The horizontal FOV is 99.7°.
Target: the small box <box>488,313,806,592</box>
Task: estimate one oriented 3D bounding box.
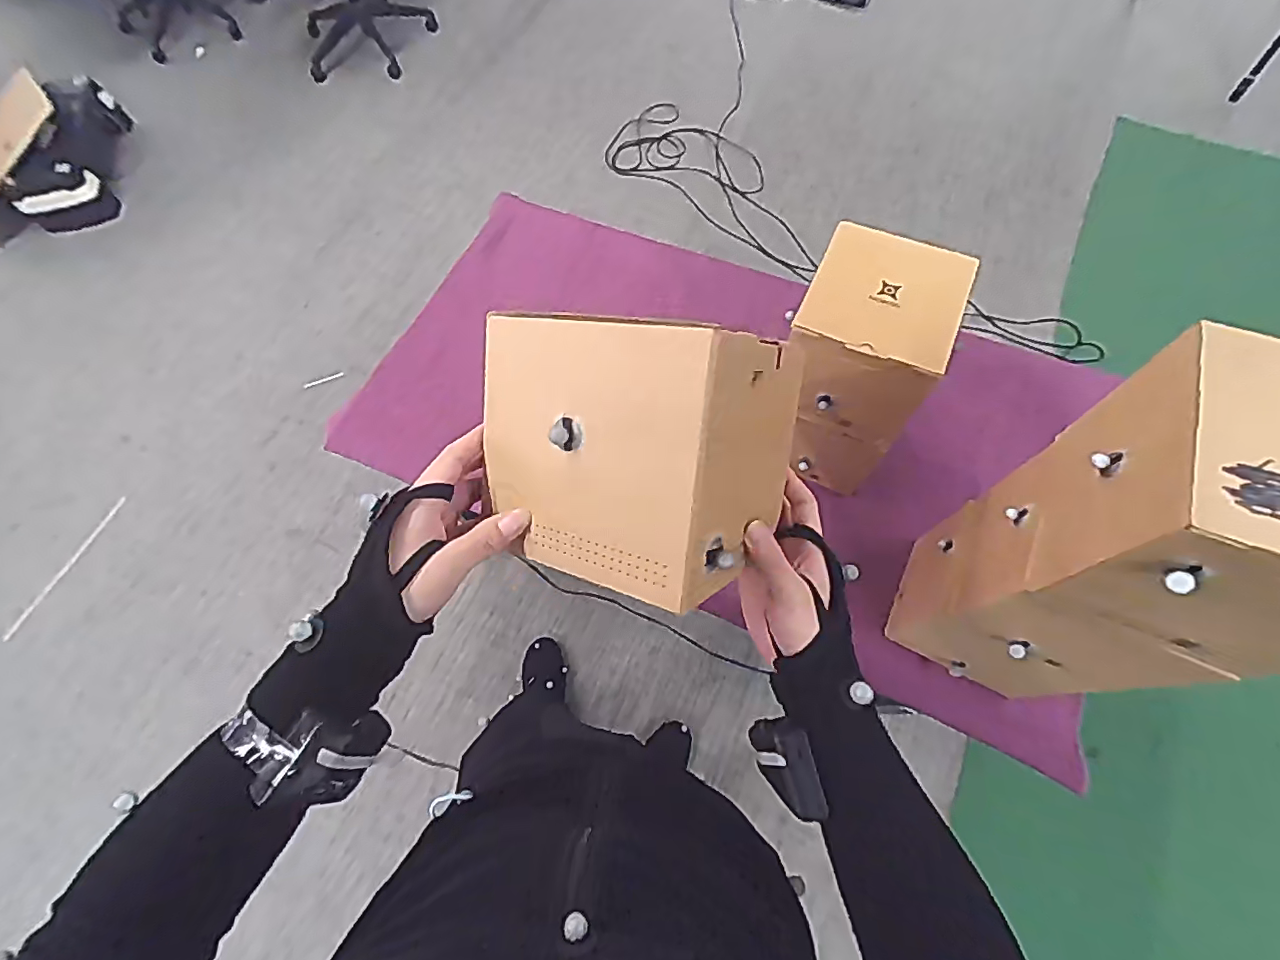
[{"bbox_3d":[0.005,-0.030,0.411,0.179,0.168,0.176,13,105,32],"label":"small box"}]

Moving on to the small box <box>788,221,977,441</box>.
[{"bbox_3d":[0.281,-0.180,0.683,0.168,0.176,0.179,23,71,11],"label":"small box"}]

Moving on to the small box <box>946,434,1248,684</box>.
[{"bbox_3d":[0.451,0.089,0.559,0.168,0.176,0.179,25,70,14],"label":"small box"}]

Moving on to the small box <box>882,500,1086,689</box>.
[{"bbox_3d":[0.454,0.156,0.709,0.179,0.176,0.168,26,70,13],"label":"small box"}]

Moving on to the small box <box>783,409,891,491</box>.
[{"bbox_3d":[0.294,-0.113,0.831,0.168,0.176,0.179,26,71,13],"label":"small box"}]
